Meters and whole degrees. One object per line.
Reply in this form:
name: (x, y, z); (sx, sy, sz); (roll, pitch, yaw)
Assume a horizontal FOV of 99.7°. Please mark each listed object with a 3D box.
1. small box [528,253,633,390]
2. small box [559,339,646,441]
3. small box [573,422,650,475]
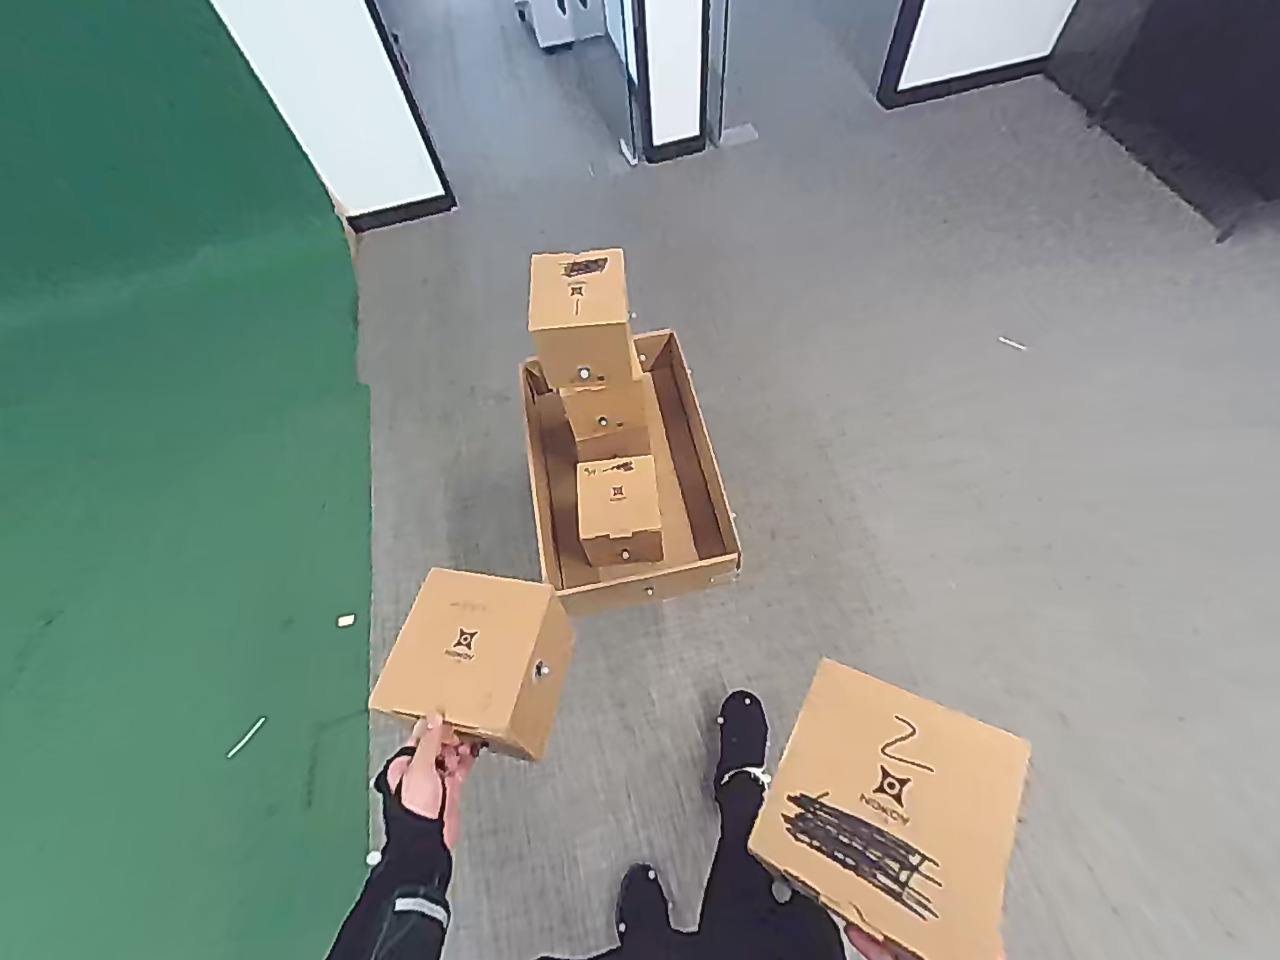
small box: (-0.103, -0.288, 1.000); (0.168, 0.176, 0.179); (-4, 63, 2)
small box: (-0.086, -0.210, 1.143); (0.168, 0.176, 0.179); (-13, 63, -2)
small box: (-0.074, -0.137, 1.287); (0.168, 0.176, 0.179); (-13, 62, -1)
